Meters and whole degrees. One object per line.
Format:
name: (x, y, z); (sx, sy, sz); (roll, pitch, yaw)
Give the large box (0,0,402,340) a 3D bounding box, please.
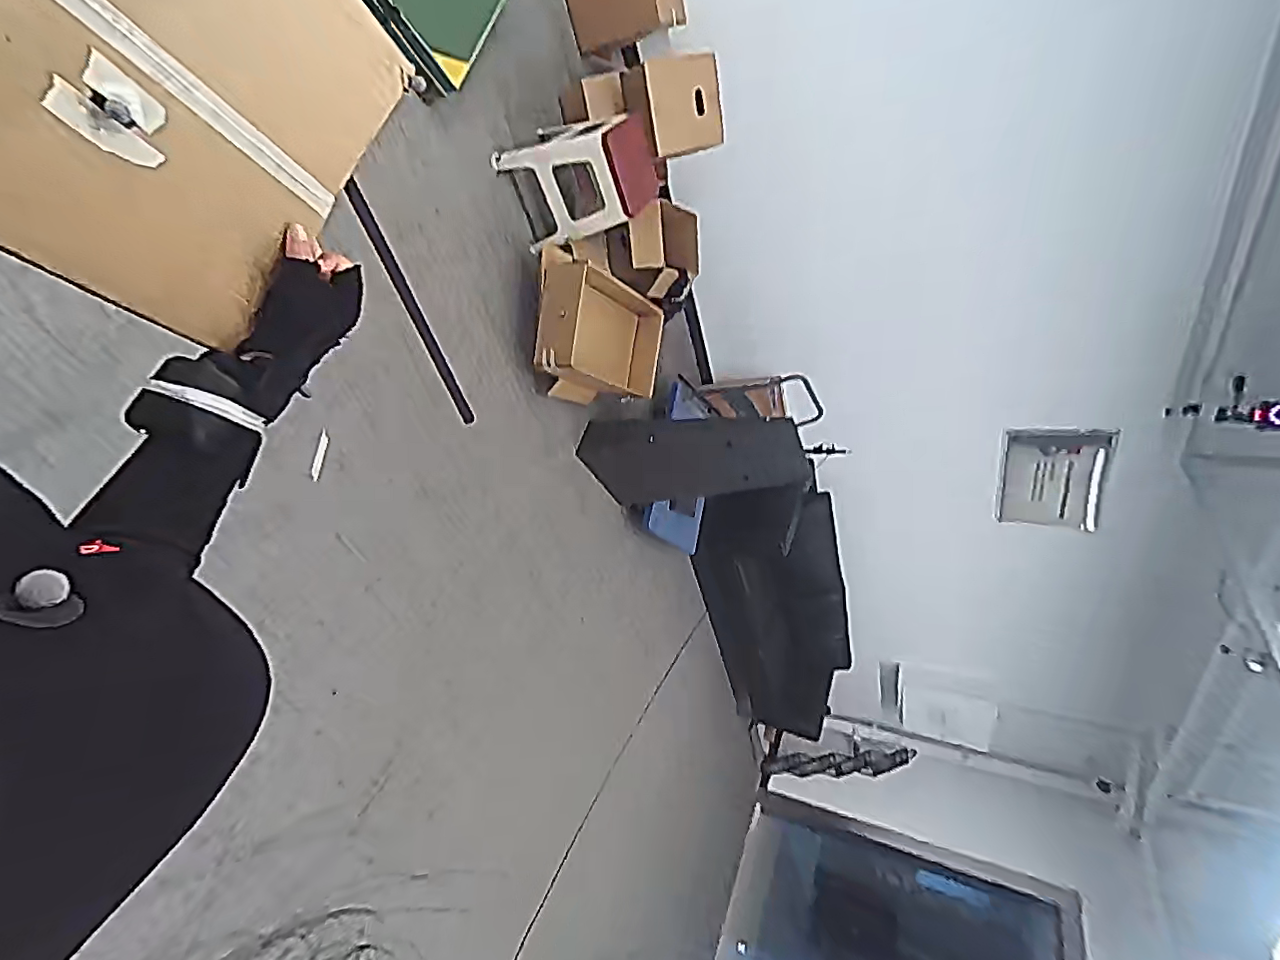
large box: (-0.484, -0.363, 0.386); (0.320, 0.320, 0.408); (-63, 152, -6)
